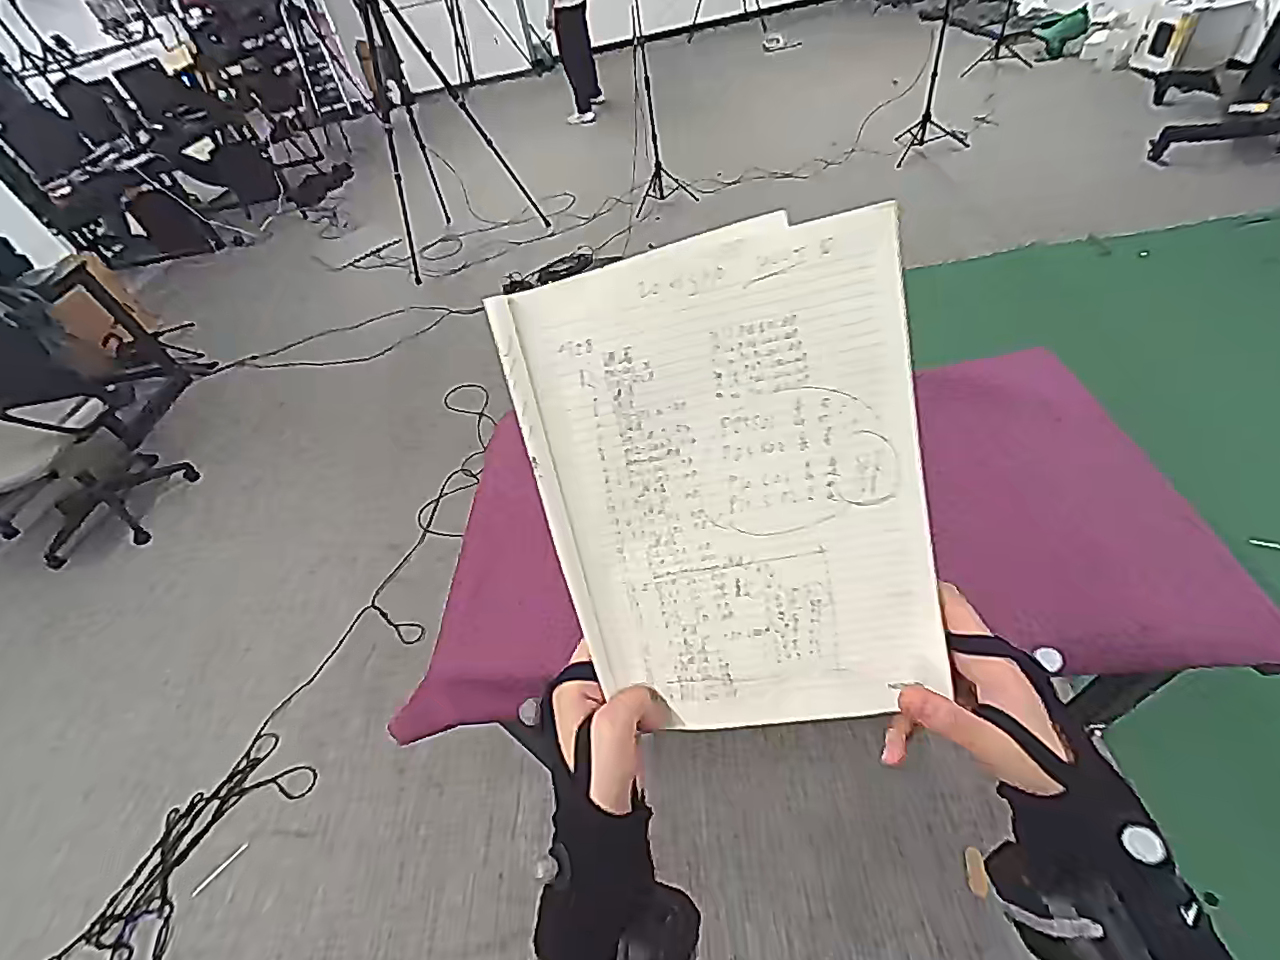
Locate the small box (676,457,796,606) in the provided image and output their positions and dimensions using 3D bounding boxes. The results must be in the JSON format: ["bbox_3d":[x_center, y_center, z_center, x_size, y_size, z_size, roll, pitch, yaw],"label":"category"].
[{"bbox_3d":[0.149,0.089,0.859,0.168,0.176,0.179,-6,48,7],"label":"small box"}]
